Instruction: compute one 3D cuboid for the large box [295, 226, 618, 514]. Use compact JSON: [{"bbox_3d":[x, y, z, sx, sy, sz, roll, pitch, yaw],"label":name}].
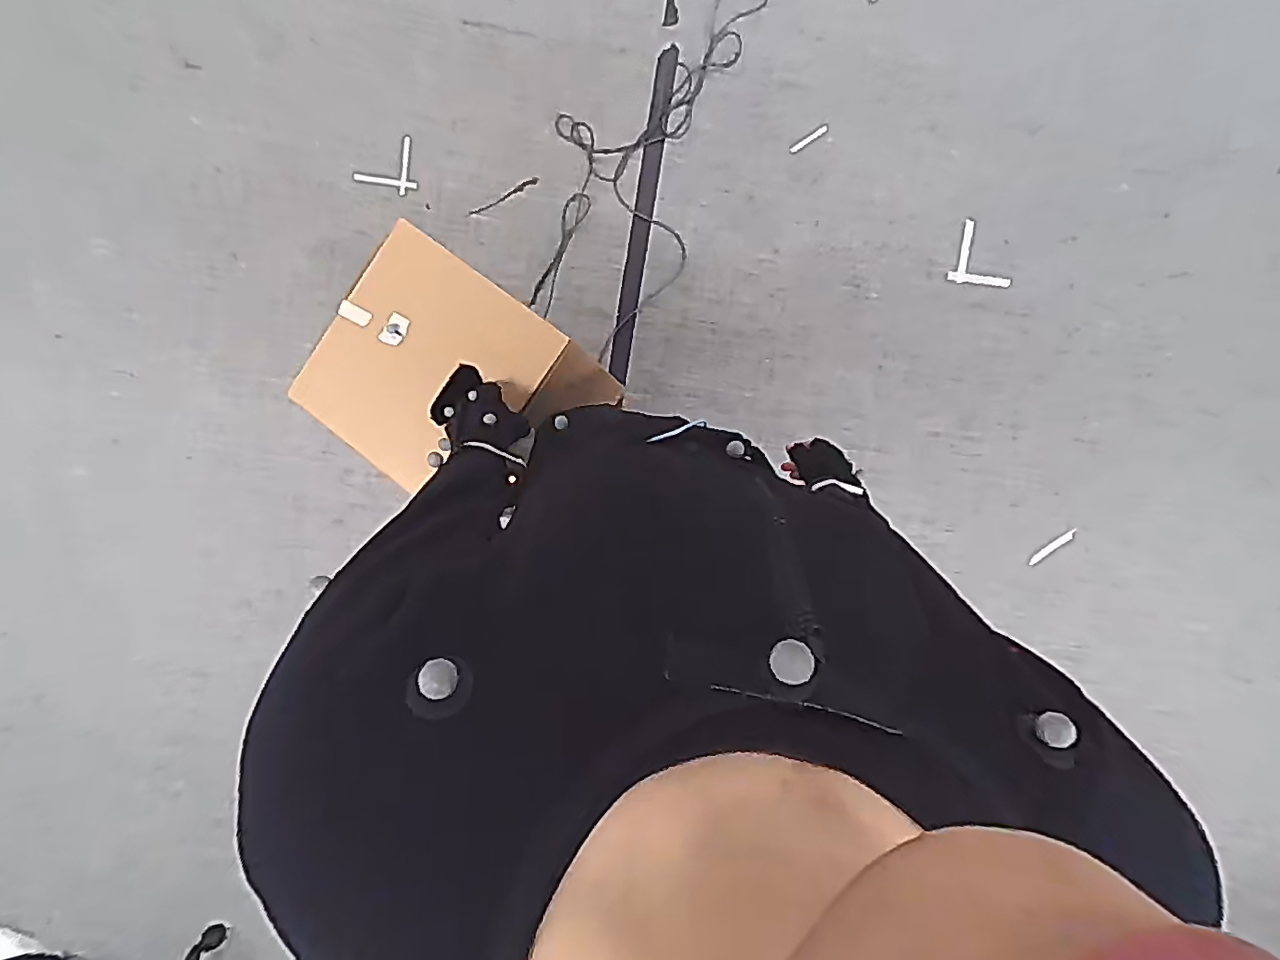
[{"bbox_3d":[-0.284,-0.167,0.962,0.320,0.408,0.320,38,96,6],"label":"large box"}]
